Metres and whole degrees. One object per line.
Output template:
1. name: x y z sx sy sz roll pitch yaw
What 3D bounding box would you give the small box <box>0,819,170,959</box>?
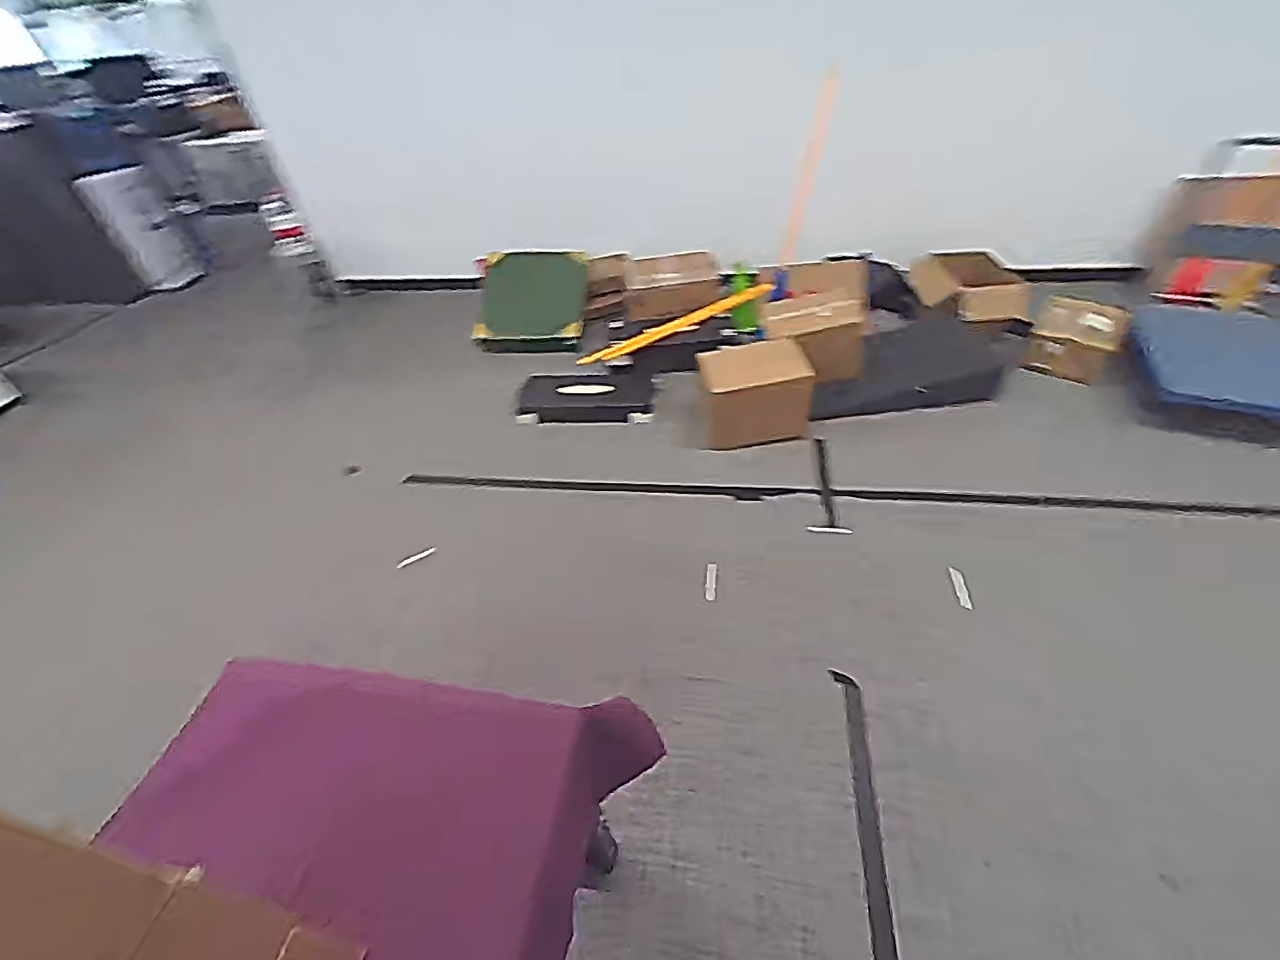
1. small box: -0.438 0.290 0.297 0.179 0.176 0.168 2 43 9

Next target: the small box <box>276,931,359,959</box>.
1. small box: -0.411 0.533 0.516 0.179 0.176 0.168 2 43 9

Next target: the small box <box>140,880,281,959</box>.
1. small box: -0.421 0.414 0.404 0.168 0.176 0.179 2 43 8
